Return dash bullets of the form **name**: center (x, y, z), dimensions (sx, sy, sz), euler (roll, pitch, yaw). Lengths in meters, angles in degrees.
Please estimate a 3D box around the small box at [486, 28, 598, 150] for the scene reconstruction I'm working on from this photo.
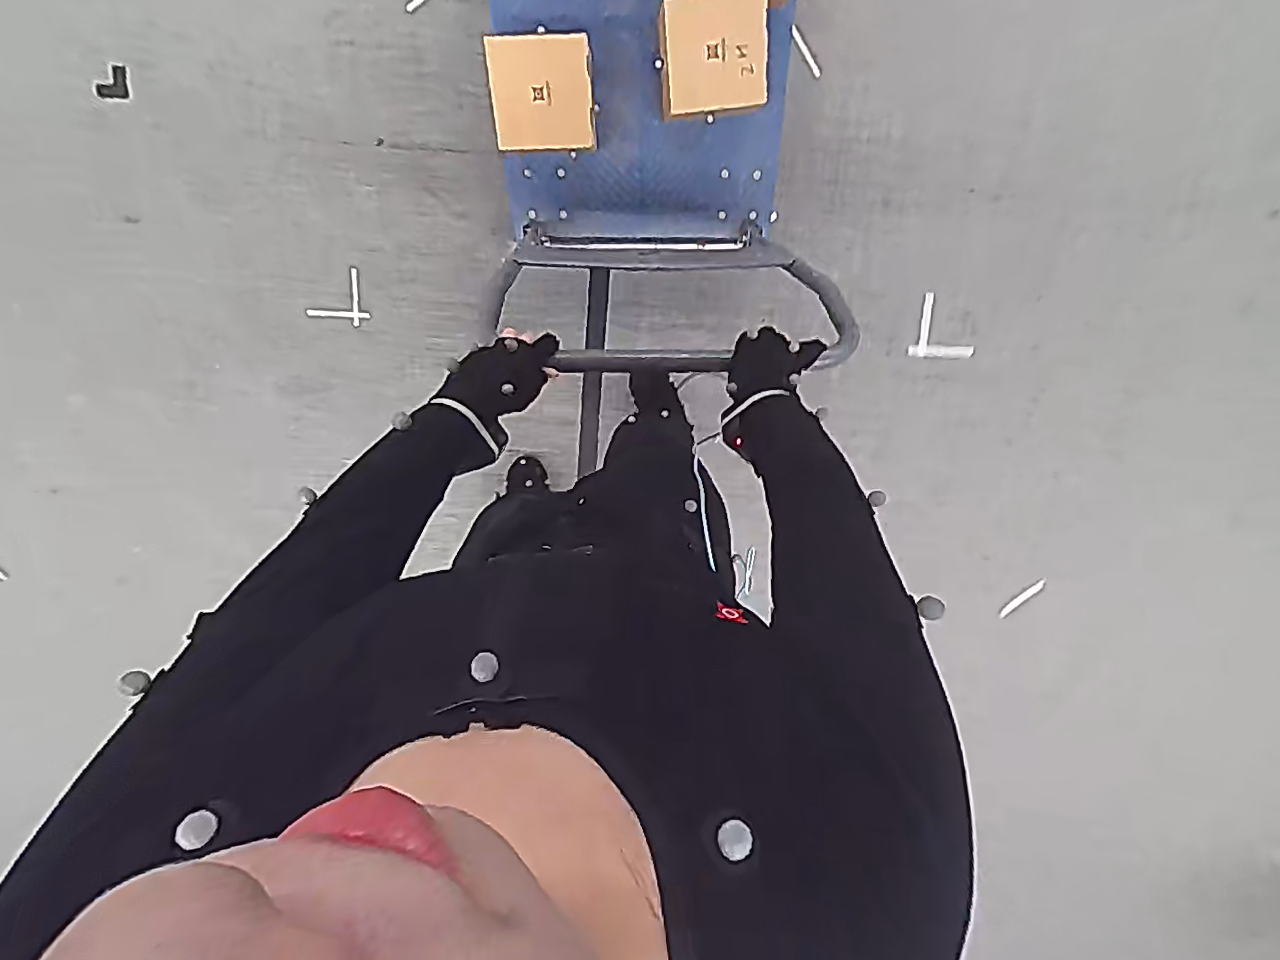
- **small box**: center (-0.172, -0.721, 1.012), dimensions (0.179, 0.176, 0.168), euler (-4, 119, -2)

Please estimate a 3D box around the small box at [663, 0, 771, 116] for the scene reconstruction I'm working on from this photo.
- **small box**: center (0.134, -0.780, 0.990), dimensions (0.179, 0.176, 0.168), euler (-6, 120, 1)
